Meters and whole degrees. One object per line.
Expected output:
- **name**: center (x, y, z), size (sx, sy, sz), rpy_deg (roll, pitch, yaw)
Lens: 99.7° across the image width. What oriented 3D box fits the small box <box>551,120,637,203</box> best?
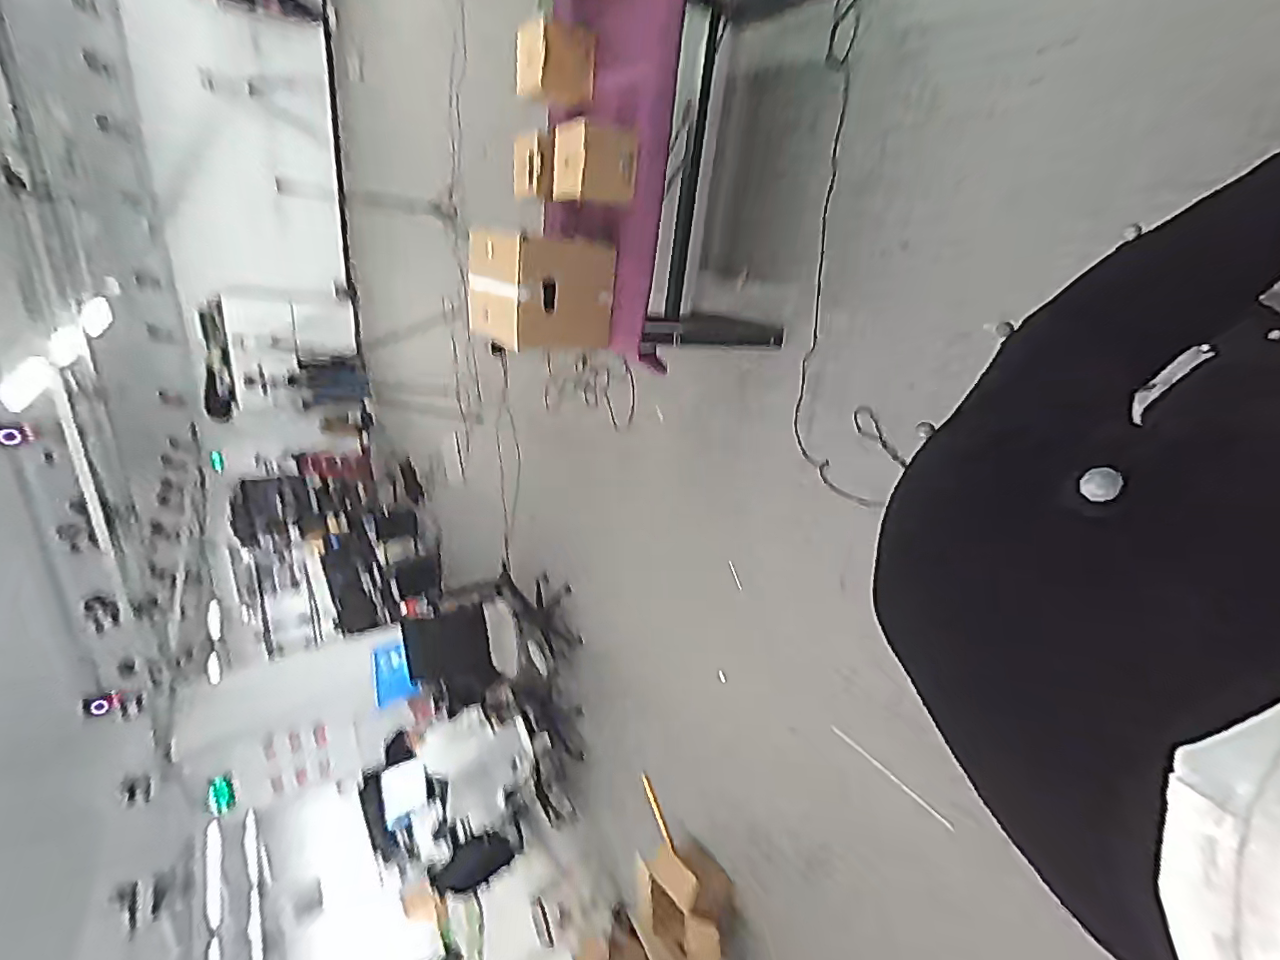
- **small box**: center (-0.129, -0.867, 1.488), size (0.179, 0.176, 0.168), rpy_deg (32, 124, 49)
